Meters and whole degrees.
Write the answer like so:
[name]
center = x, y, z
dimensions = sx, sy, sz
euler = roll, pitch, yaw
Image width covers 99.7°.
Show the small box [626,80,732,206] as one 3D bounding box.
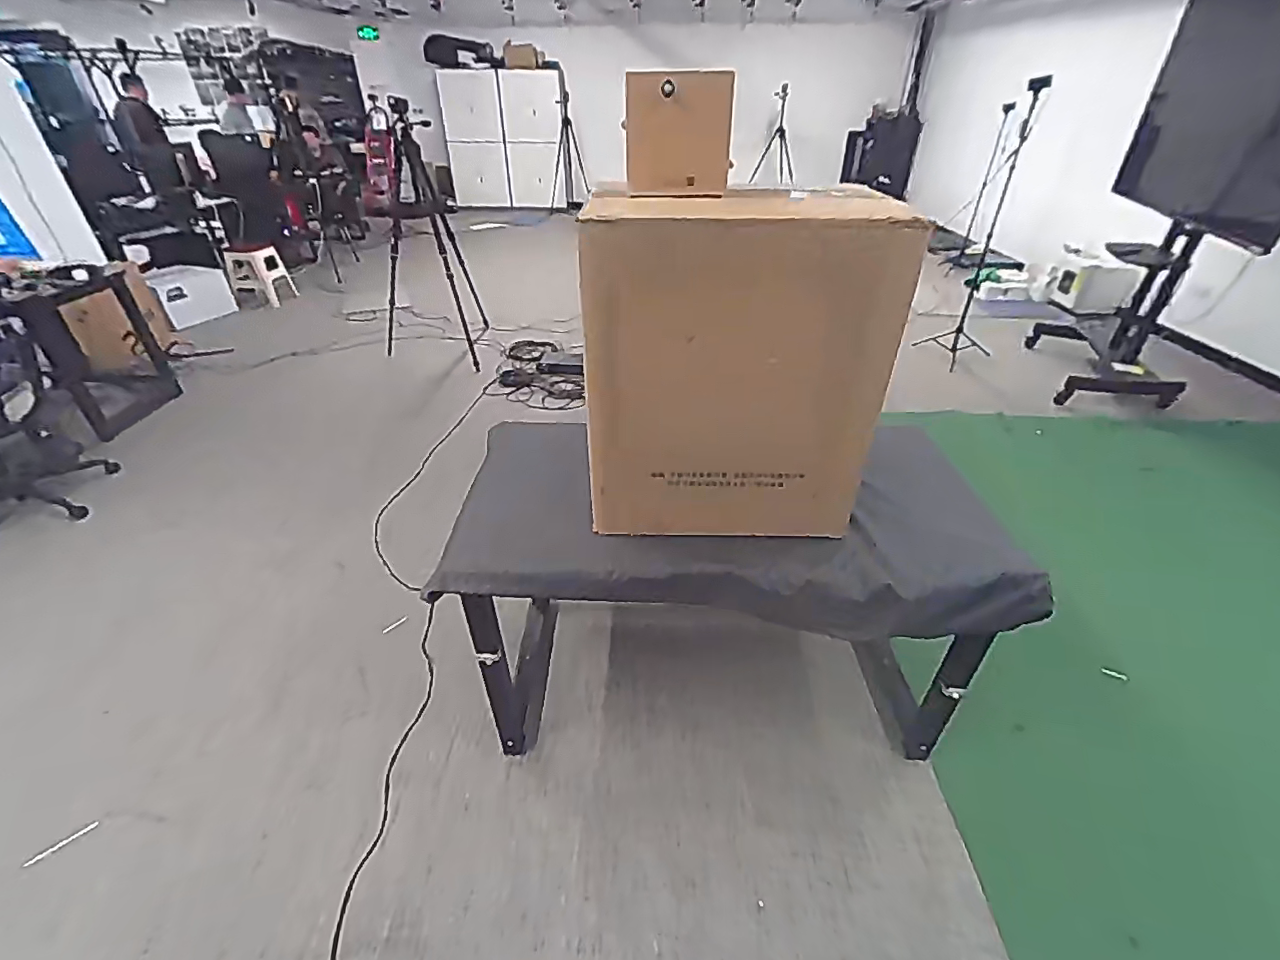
[small box]
center = 0.062, -0.576, 0.930
dimensions = 0.168, 0.176, 0.179
euler = 0, 33, 2
